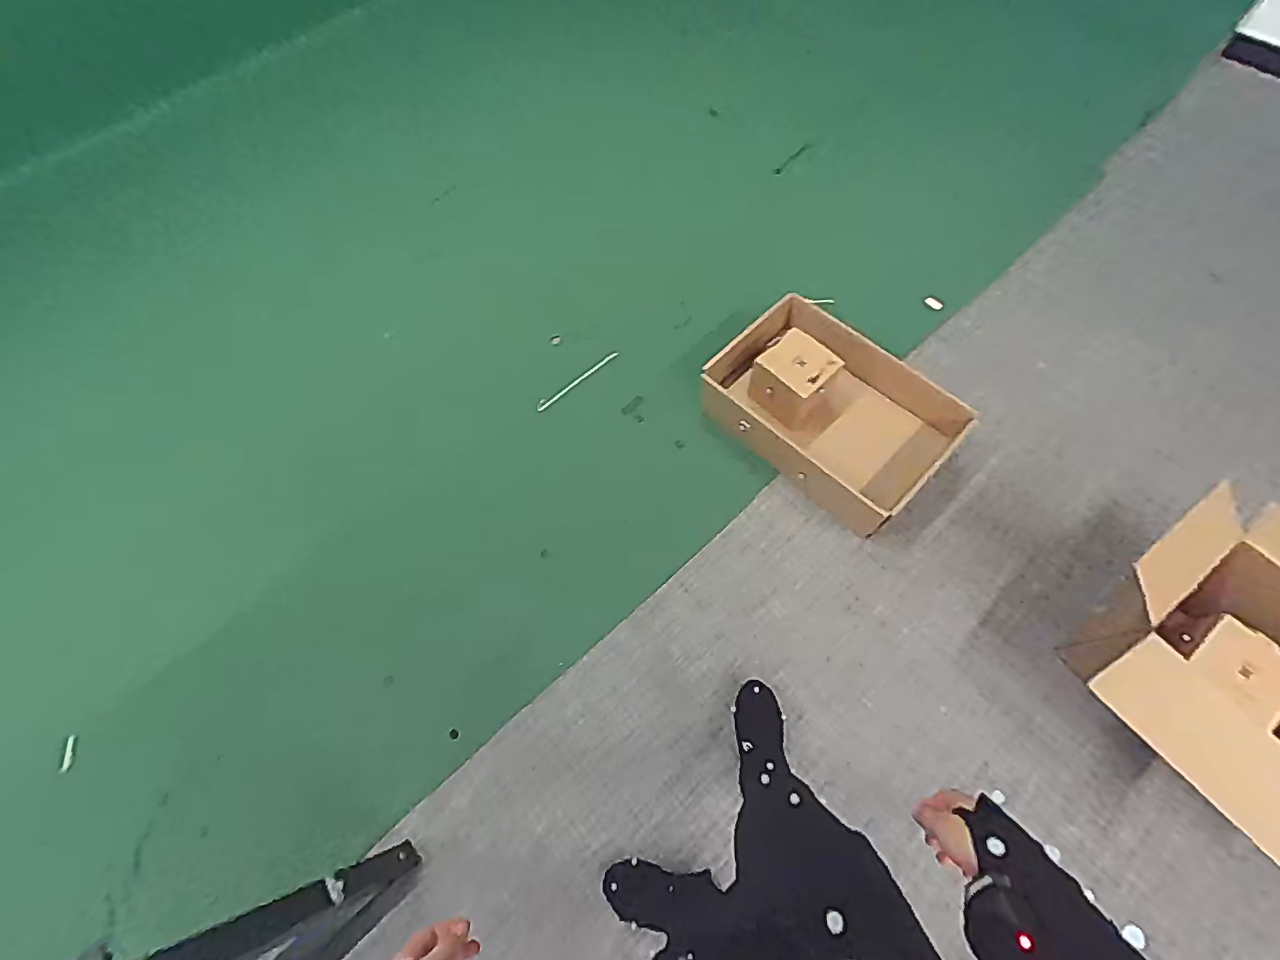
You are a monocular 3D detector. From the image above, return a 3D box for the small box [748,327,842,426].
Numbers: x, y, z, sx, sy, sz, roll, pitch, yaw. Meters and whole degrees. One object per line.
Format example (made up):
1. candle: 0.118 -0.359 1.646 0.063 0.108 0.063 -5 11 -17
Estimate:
1. small box: 0.423 -0.283 1.512 0.168 0.176 0.179 -41 70 -15
